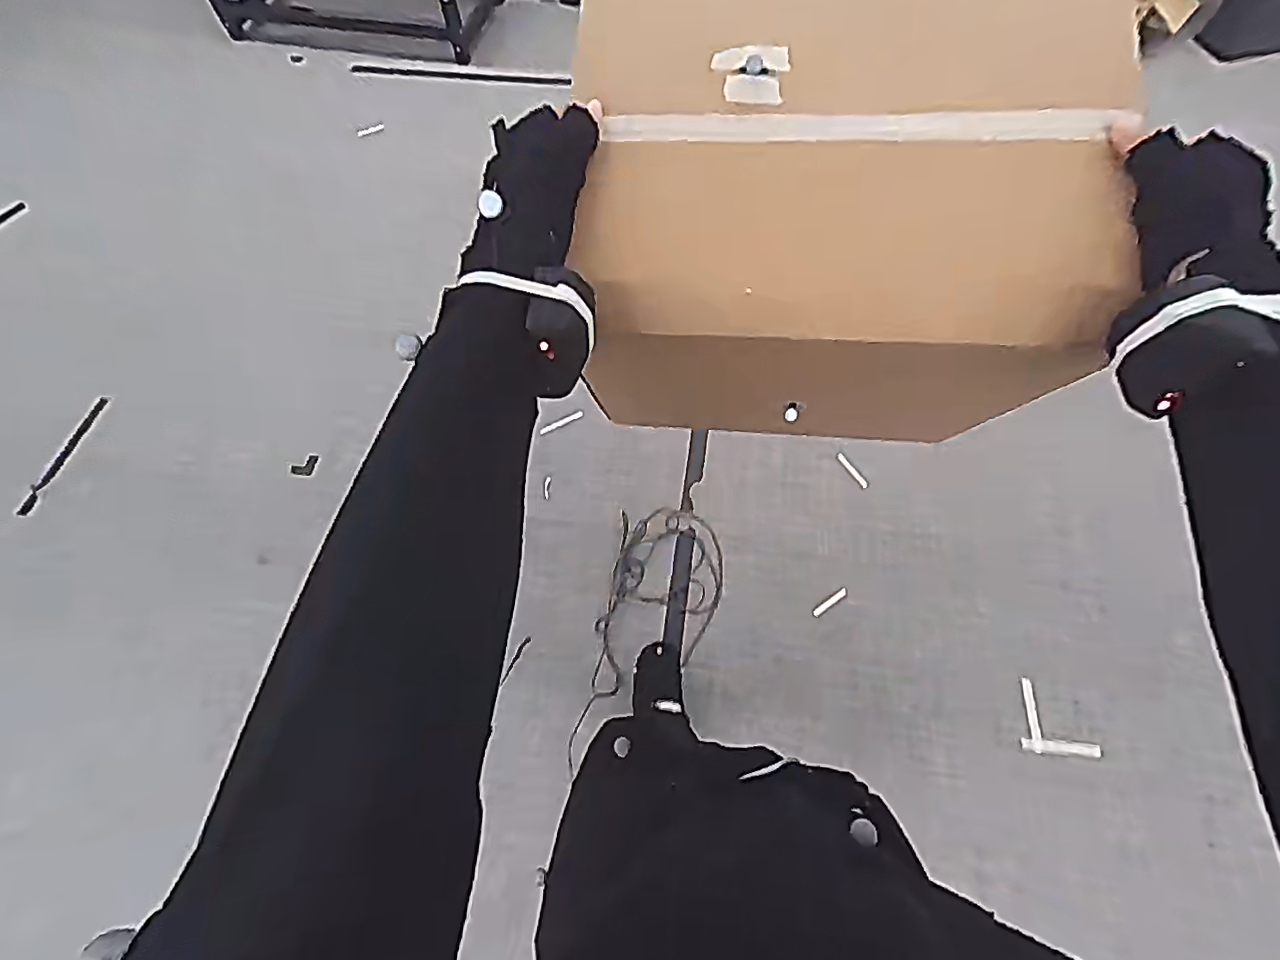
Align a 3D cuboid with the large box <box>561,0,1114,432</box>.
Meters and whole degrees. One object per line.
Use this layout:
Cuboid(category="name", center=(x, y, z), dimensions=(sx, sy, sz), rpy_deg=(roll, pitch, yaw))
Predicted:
Cuboid(category="large box", center=(0.163, -0.235, 0.564), dimensions=(0.408, 0.320, 0.320), rpy_deg=(4, 82, 7))
